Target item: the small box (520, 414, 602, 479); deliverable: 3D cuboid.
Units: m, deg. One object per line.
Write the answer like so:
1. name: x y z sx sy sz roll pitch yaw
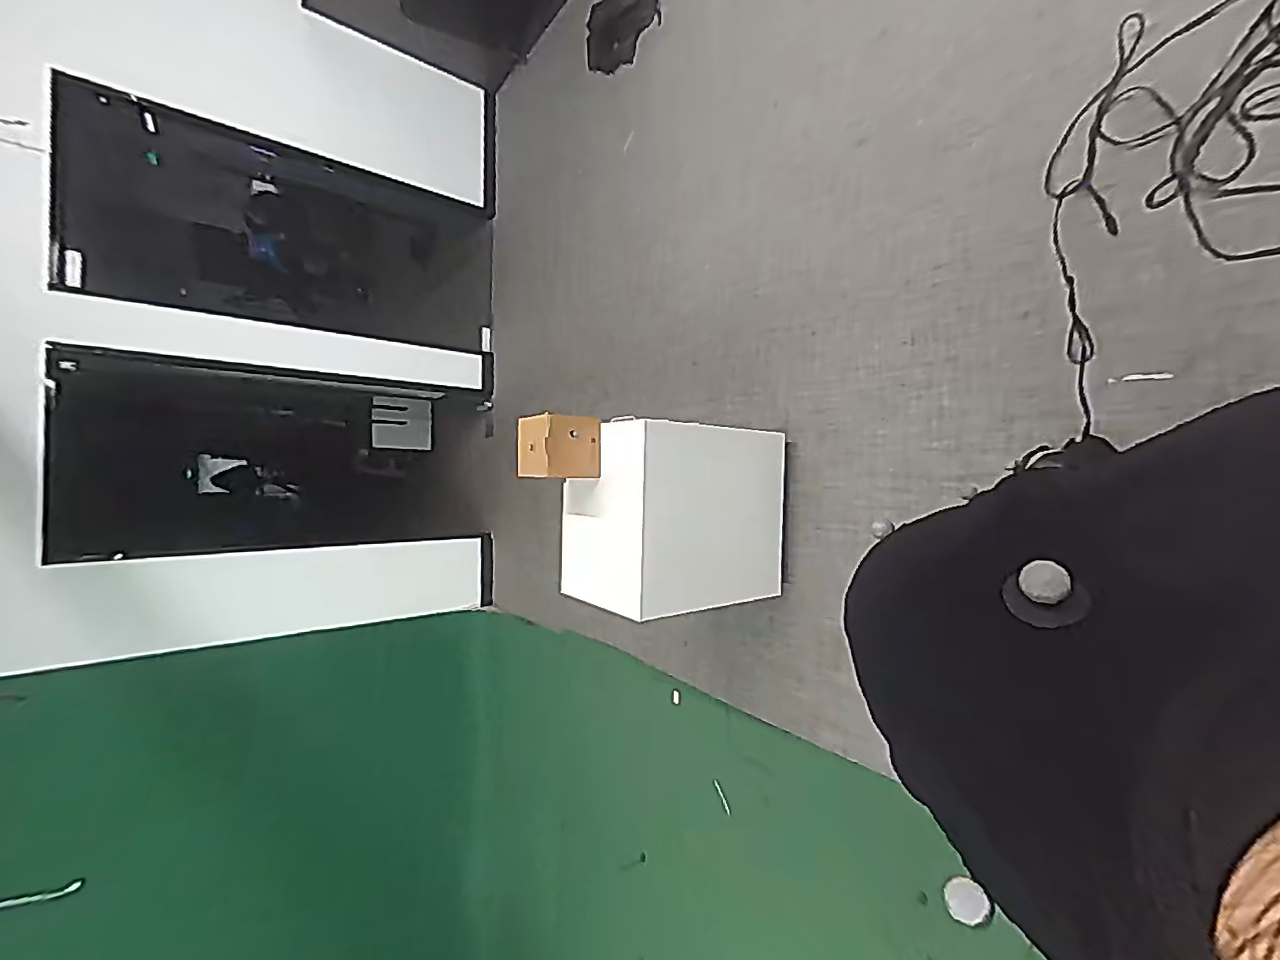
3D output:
1. small box: -0.216 -0.089 1.492 0.179 0.176 0.168 1 90 53
